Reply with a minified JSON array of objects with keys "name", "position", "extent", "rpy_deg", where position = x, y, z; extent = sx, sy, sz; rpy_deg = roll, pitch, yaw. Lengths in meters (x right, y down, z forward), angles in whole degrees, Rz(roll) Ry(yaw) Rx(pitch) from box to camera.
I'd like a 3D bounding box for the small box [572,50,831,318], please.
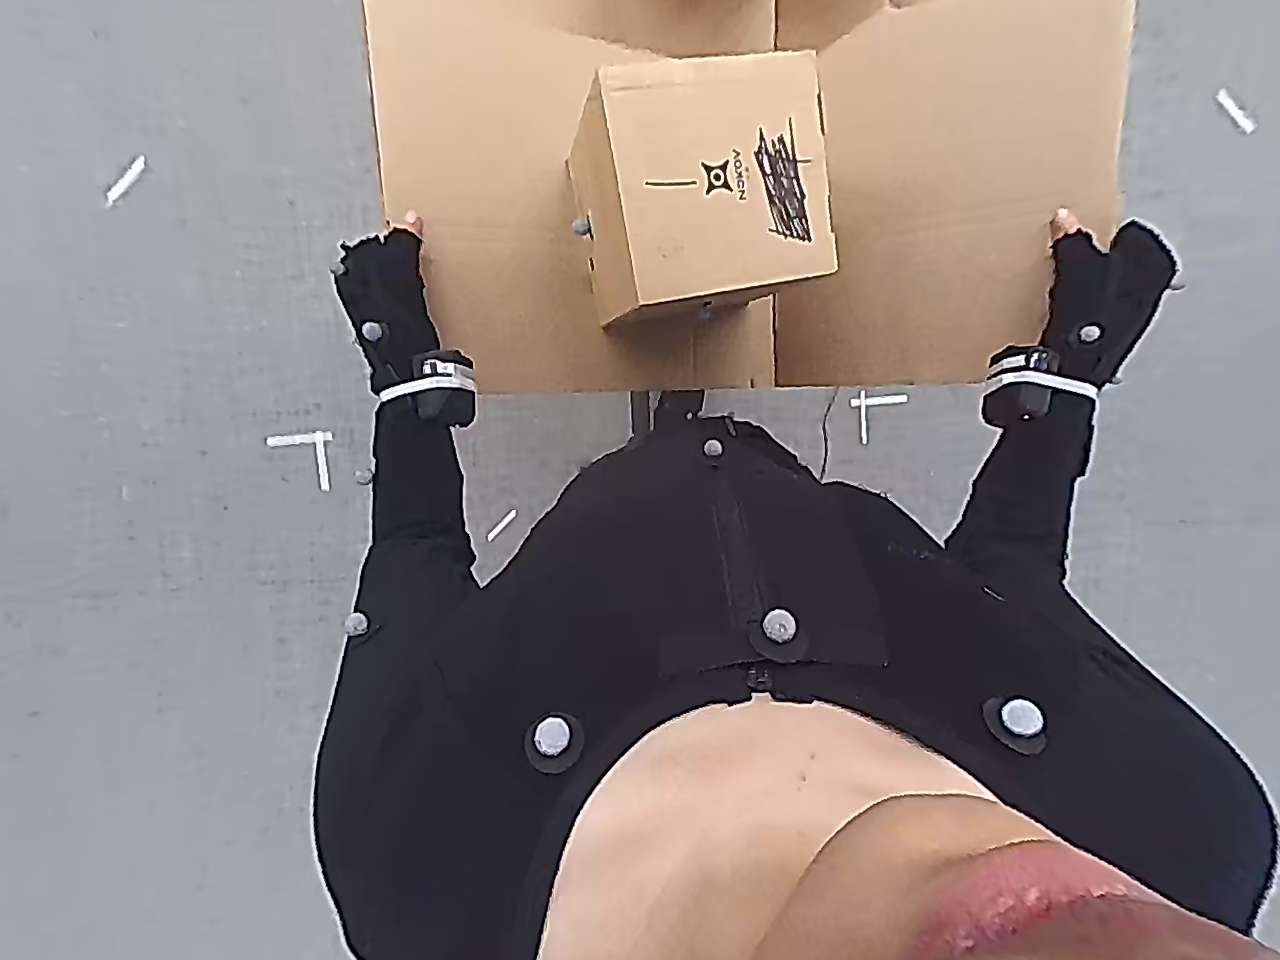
[{"name":"small box","position":[0.046,-0.254,0.499],"extent":[0.179,0.176,0.168],"rpy_deg":[-13,102,-12]}]
